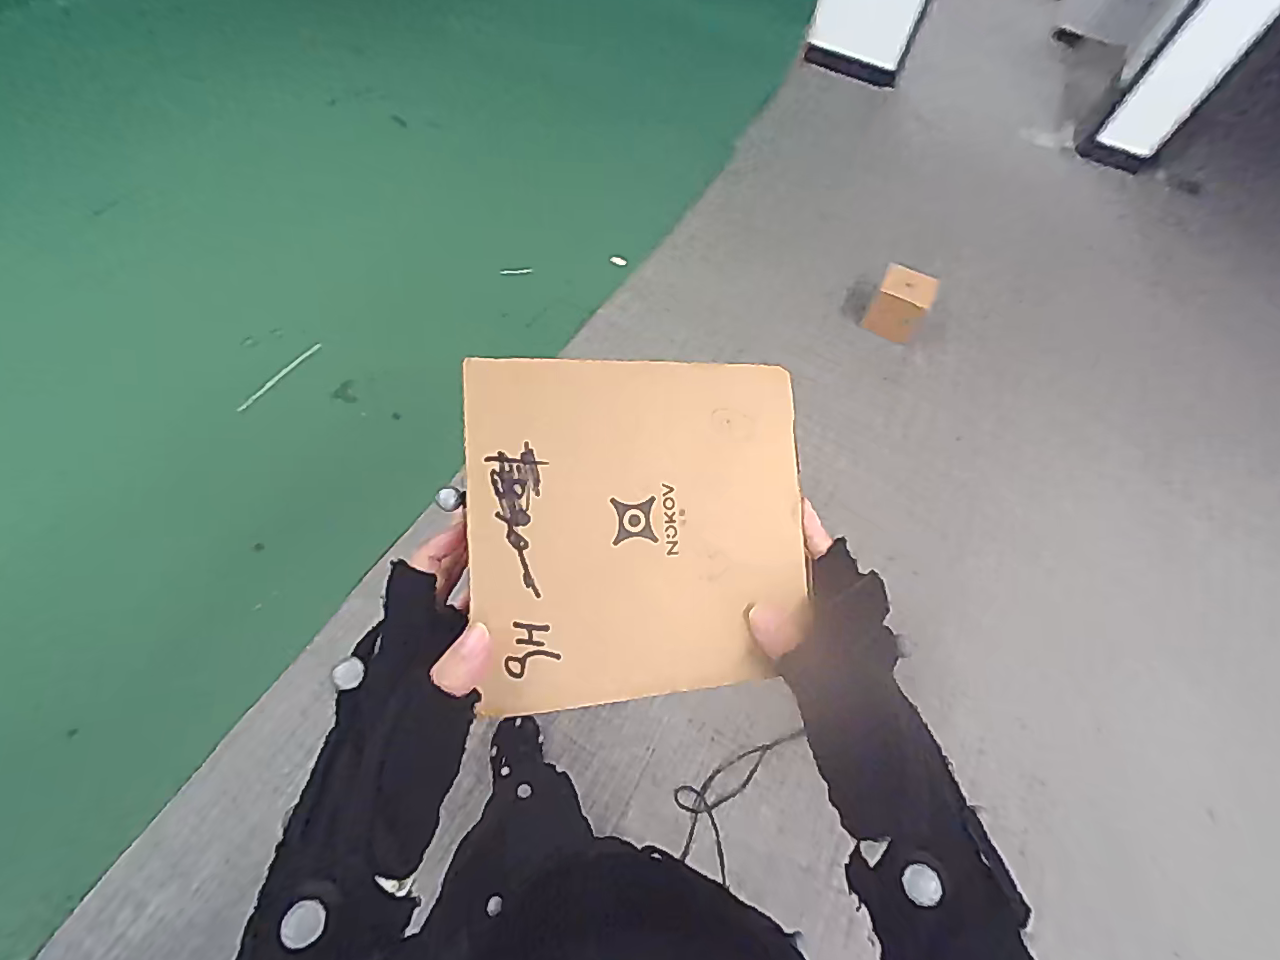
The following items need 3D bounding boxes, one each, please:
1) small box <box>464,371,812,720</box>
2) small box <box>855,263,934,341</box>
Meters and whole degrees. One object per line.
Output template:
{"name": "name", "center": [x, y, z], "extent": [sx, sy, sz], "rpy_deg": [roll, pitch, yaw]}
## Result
{"name": "small box", "center": [-0.017, 0.034, 0.352], "extent": [0.179, 0.176, 0.168], "rpy_deg": [-4, 83, -15]}
{"name": "small box", "center": [0.882, -0.611, 1.881], "extent": [0.179, 0.176, 0.168], "rpy_deg": [25, 62, 11]}
